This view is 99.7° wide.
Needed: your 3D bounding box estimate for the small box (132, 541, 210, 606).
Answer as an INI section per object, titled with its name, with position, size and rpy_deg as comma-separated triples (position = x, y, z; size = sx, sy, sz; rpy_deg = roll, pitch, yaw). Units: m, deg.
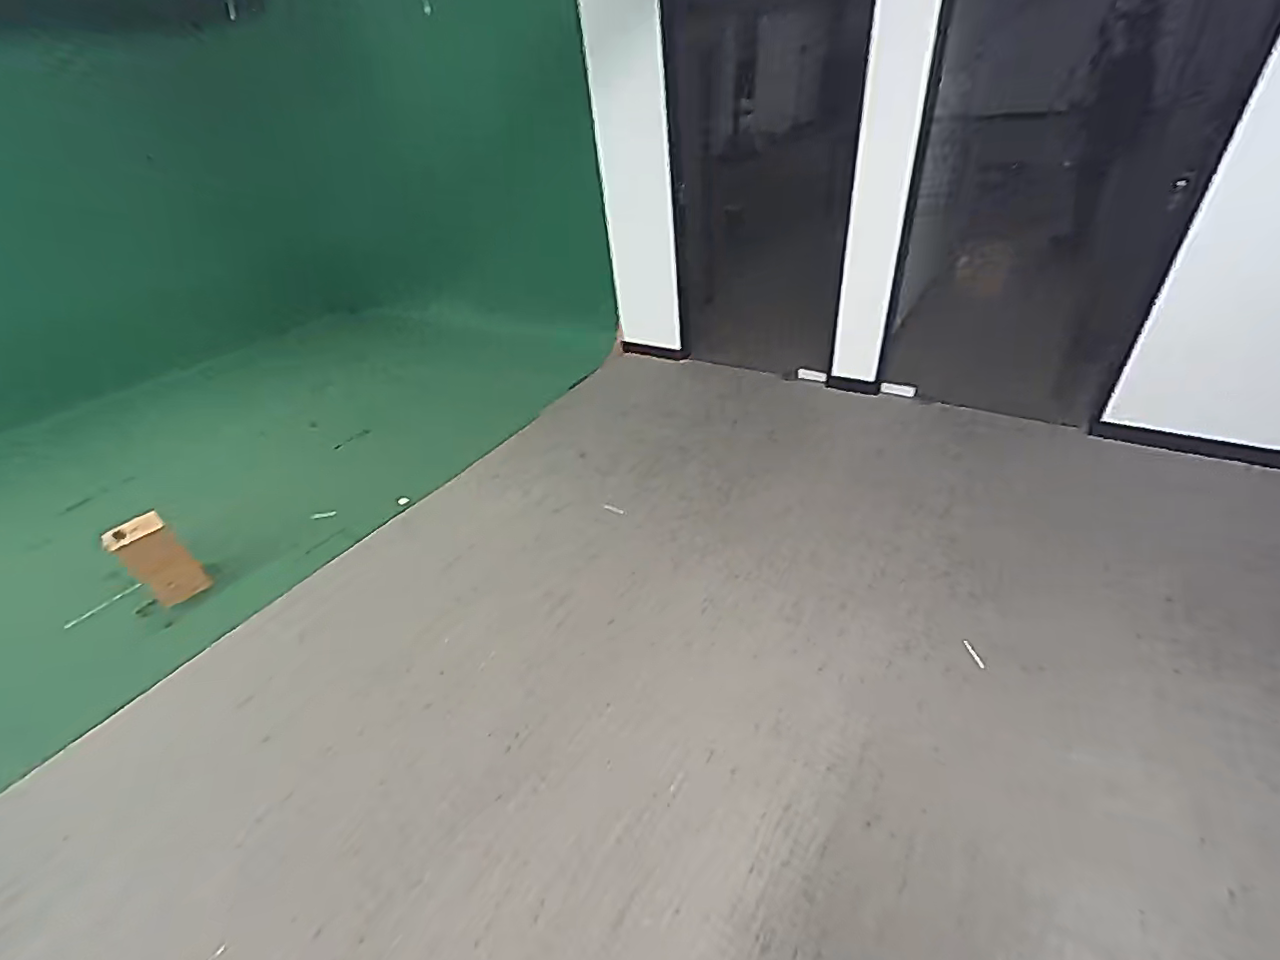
[small box]
position = -1.900, 0.384, 2.196
size = 0.179, 0.176, 0.168
rpy_deg = 24, 46, 35
